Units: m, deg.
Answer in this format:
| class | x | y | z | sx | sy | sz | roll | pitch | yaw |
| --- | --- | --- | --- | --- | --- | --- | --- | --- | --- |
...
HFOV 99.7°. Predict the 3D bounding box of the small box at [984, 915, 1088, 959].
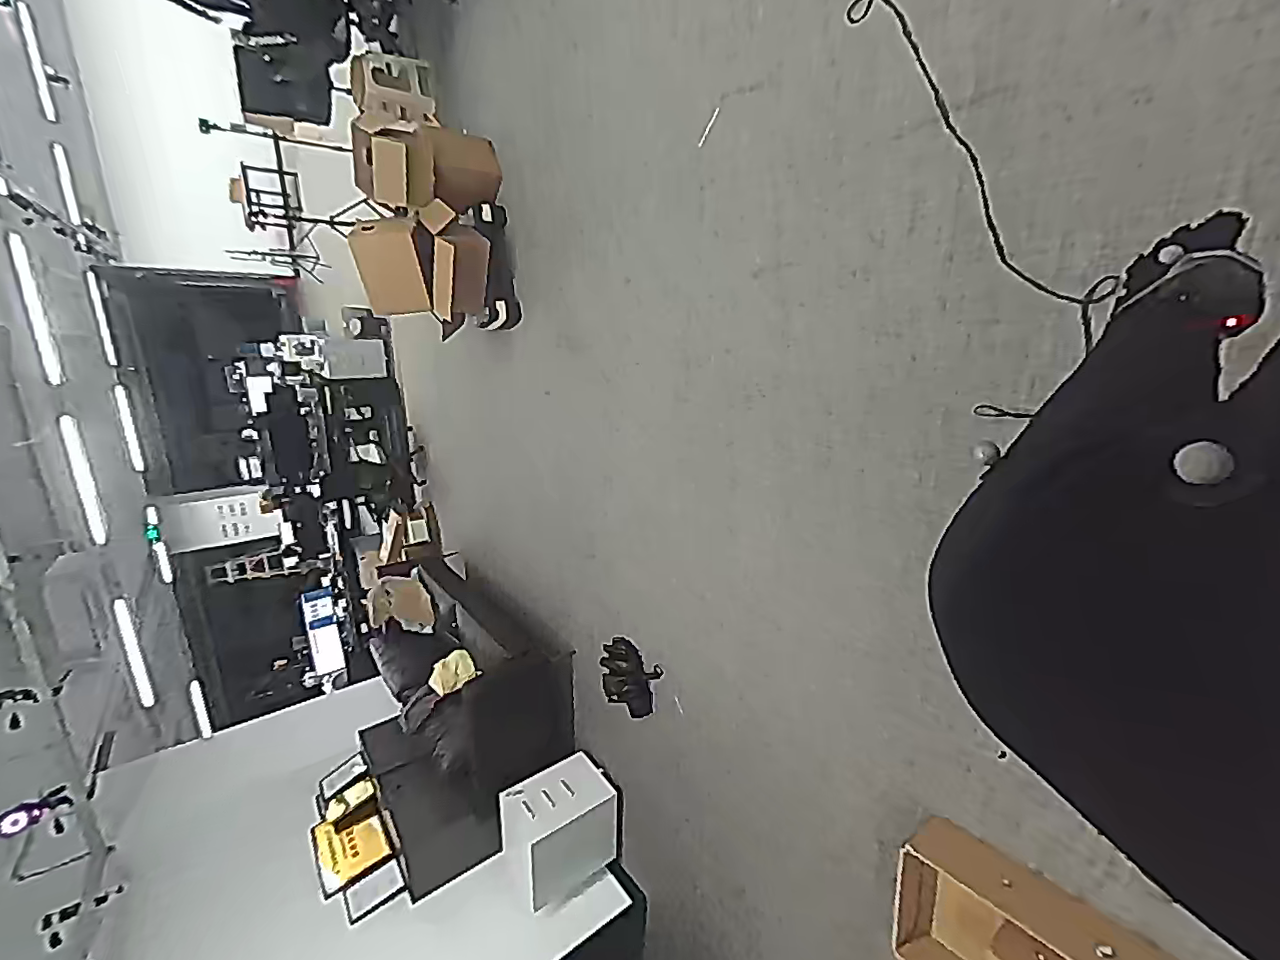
| class | x | y | z | sx | sy | sz | roll | pitch | yaw |
| --- | --- | --- | --- | --- | --- | --- | --- | --- | --- |
| small box | 0.977 | 1.237 | 1.340 | 0.179 | 0.176 | 0.168 | 14 | 111 | 49 |
